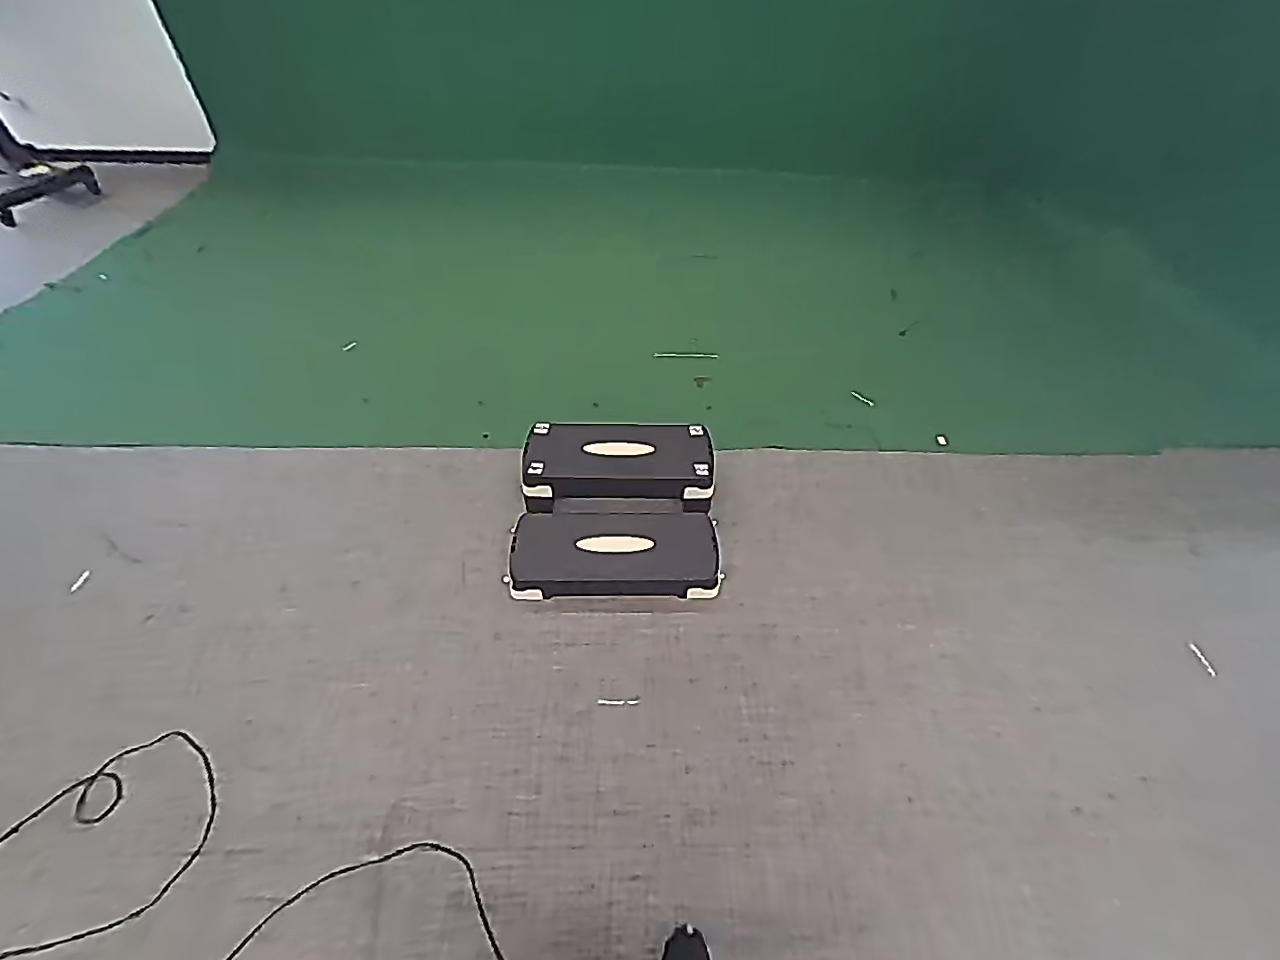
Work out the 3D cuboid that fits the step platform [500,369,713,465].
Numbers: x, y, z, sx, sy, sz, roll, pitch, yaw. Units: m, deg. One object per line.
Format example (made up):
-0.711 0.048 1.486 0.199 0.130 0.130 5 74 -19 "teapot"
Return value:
-0.107 -0.208 1.817 0.684 0.204 0.286 0 48 -2 "step platform"
